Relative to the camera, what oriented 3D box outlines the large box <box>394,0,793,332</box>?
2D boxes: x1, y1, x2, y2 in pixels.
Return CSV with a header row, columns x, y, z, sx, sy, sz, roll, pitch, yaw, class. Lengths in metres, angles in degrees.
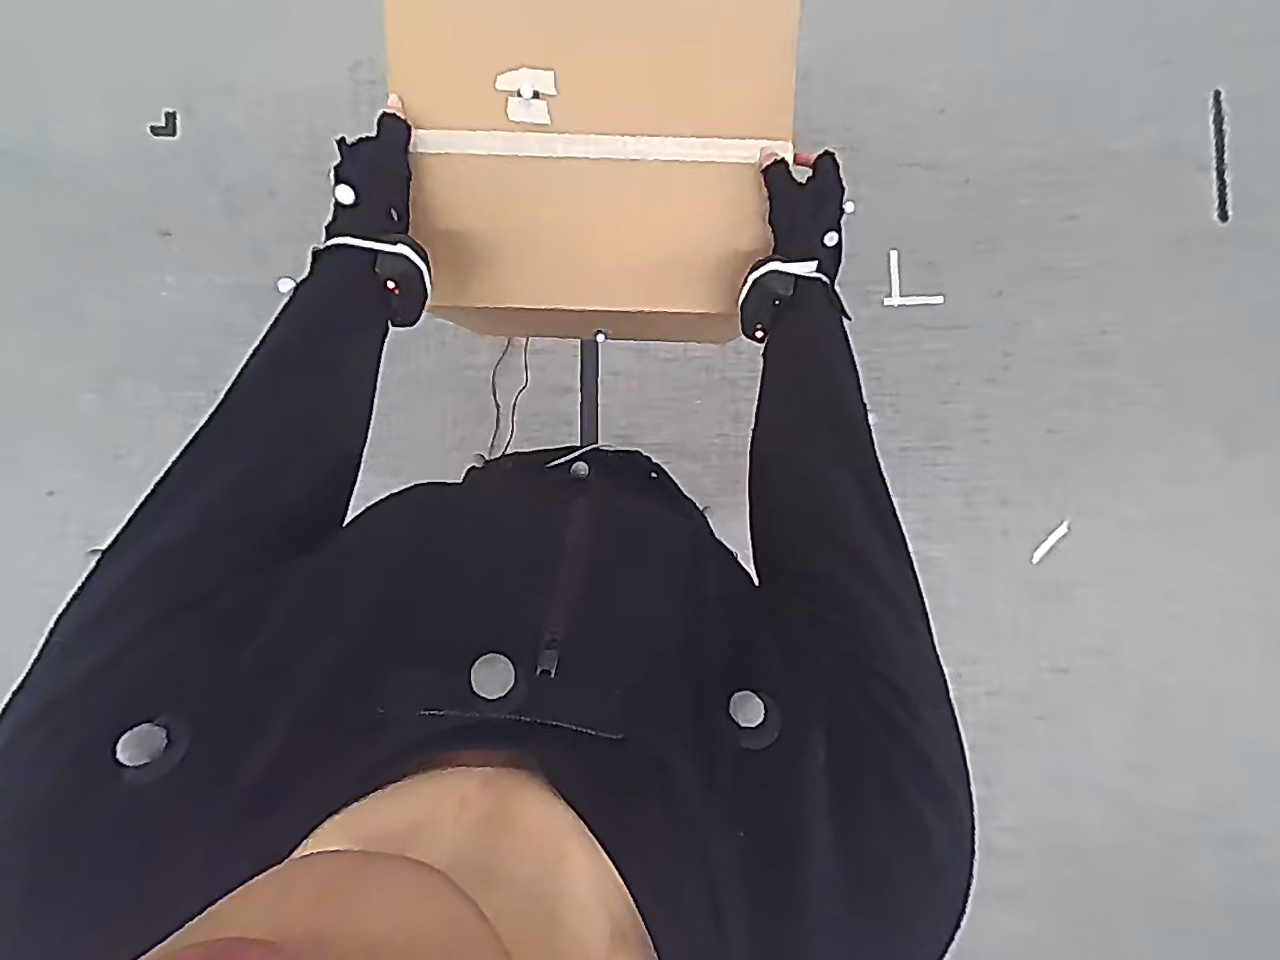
x,y,z,sx,sy,sz,roll,pitch,yaw,class
-0.046,-0.364,0.702,0.408,0.320,0.320,1,98,-1,large box
